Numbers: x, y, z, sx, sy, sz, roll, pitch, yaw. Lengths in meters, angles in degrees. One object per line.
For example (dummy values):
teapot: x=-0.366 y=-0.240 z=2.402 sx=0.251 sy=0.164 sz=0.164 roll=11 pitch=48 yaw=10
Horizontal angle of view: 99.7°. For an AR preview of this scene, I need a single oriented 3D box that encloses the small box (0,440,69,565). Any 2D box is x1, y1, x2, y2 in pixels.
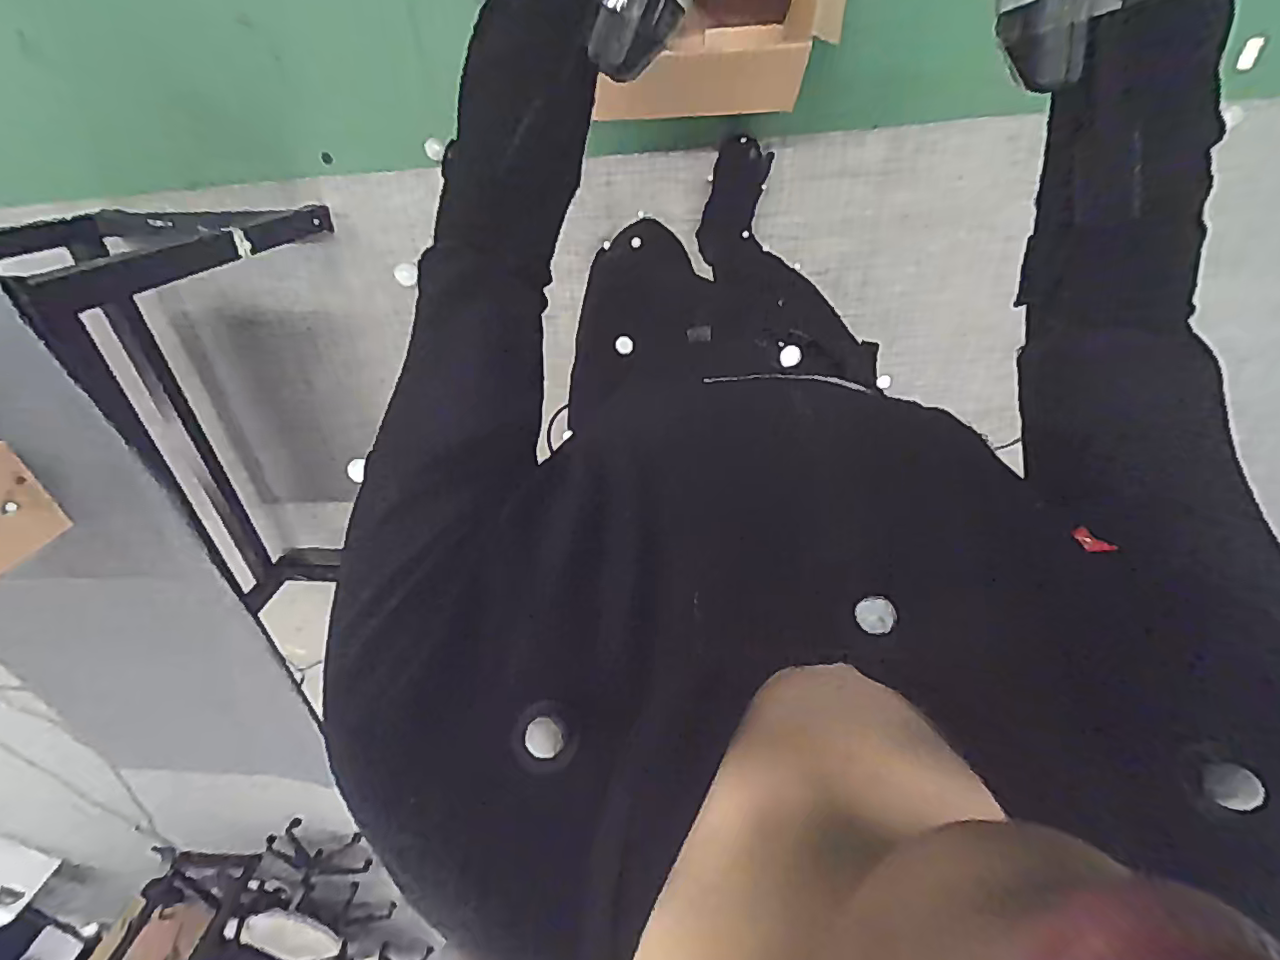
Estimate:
small box: x=-1.035 y=0.048 z=0.797 sx=0.179 sy=0.176 sz=0.168 roll=0 pitch=124 yaw=5
